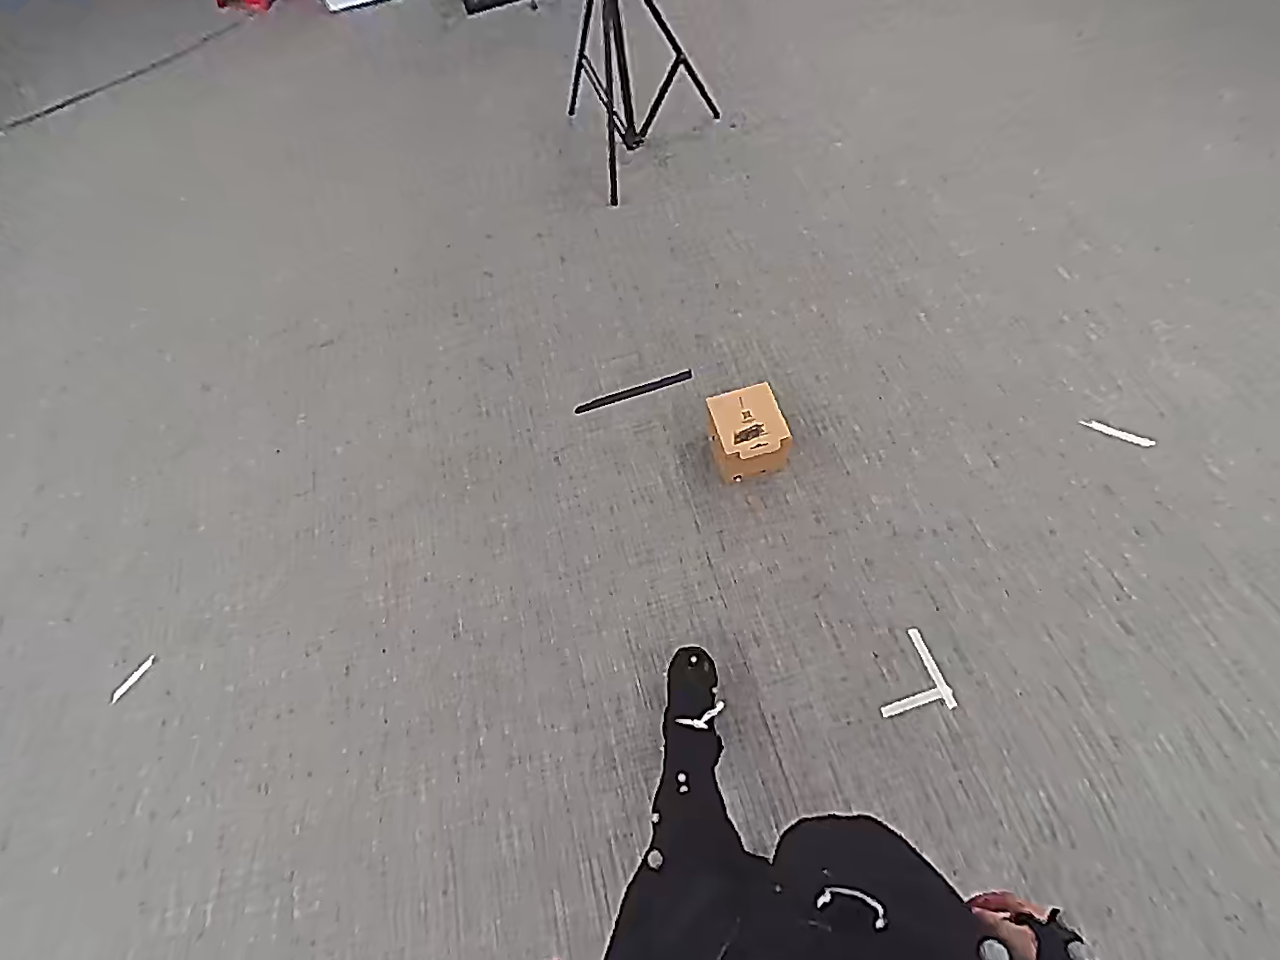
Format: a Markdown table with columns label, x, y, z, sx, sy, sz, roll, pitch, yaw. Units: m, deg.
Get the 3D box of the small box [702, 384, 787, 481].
| label | x | y | z | sx | sy | sz | roll | pitch | yaw |
| --- | --- | --- | --- | --- | --- | --- | --- | --- | --- |
| small box | 0.265 | -0.113 | 1.394 | 0.168 | 0.176 | 0.179 | -16 | 63 | -1 |
